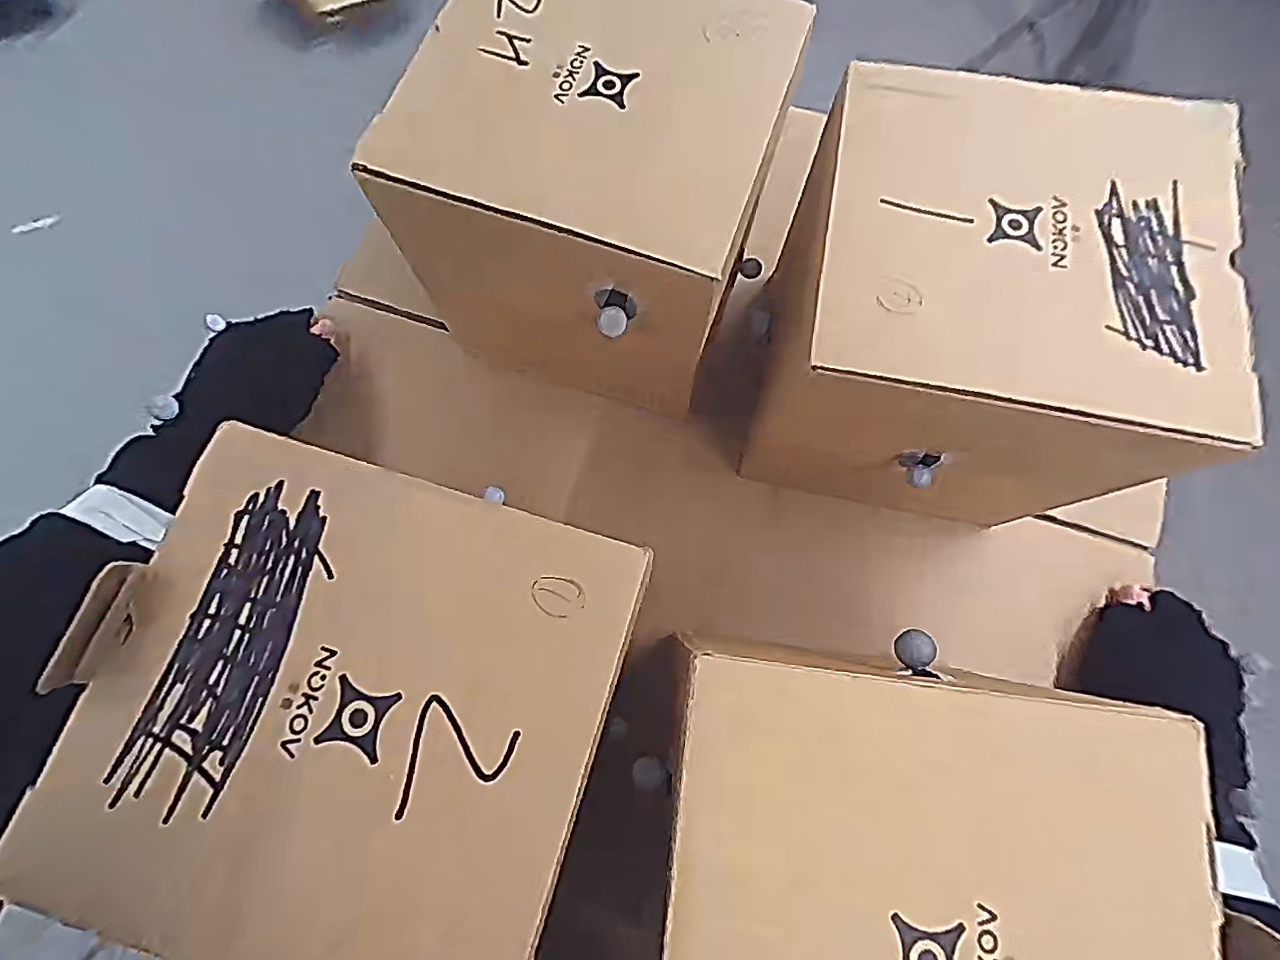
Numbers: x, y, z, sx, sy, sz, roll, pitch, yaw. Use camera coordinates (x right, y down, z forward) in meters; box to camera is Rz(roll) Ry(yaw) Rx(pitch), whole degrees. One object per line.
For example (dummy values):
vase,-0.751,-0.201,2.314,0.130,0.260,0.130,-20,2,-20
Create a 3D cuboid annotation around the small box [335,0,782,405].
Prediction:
small box,-0.035,-0.165,0.340,0.179,0.176,0.168,19,75,5
